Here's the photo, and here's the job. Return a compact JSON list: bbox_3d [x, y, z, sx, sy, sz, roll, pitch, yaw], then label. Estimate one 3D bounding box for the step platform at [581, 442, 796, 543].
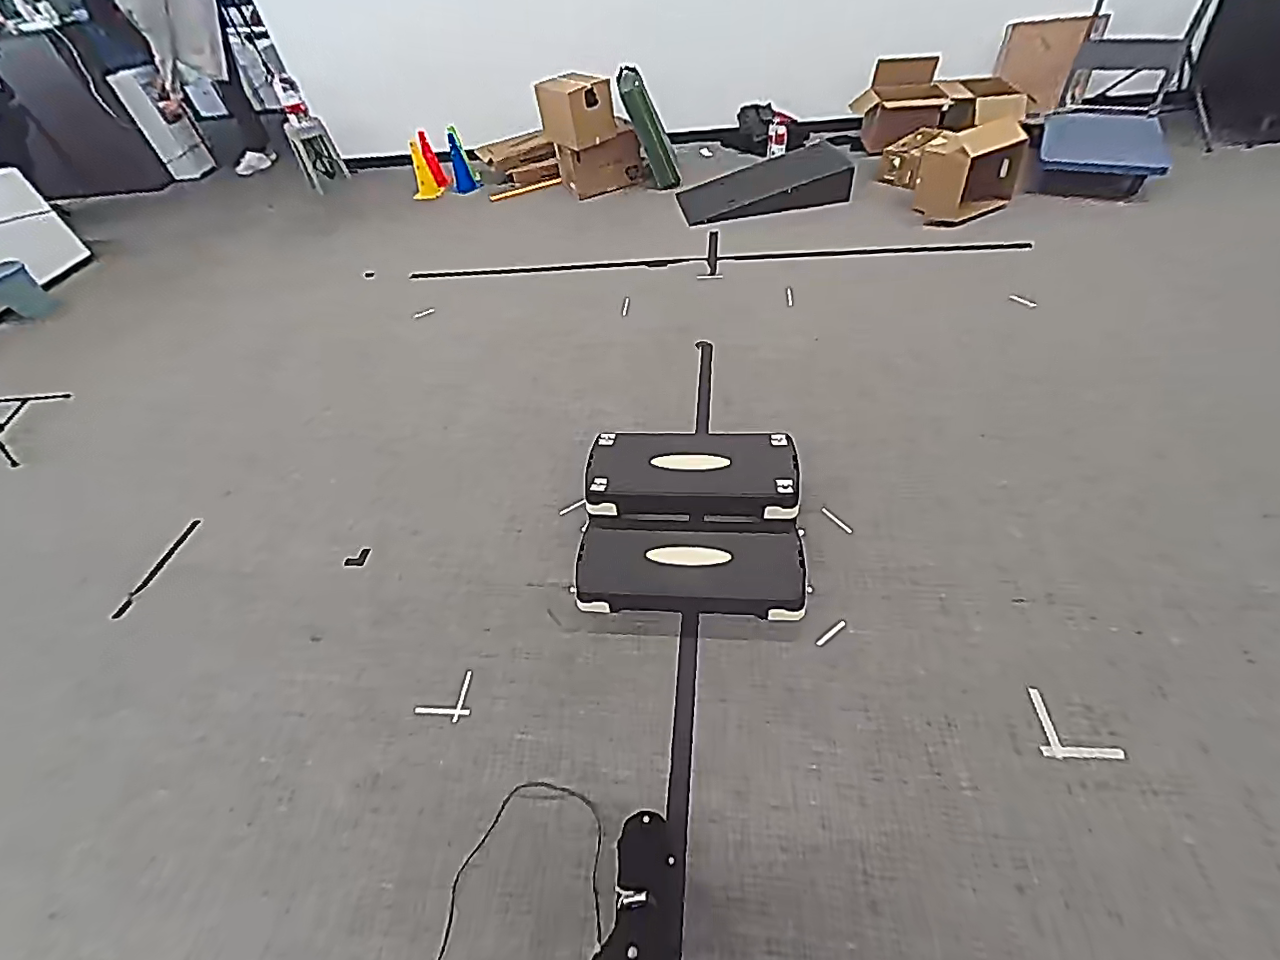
[{"bbox_3d":[0.151,0.033,1.755,0.684,0.204,0.286,1,49,7],"label":"step platform"}]
